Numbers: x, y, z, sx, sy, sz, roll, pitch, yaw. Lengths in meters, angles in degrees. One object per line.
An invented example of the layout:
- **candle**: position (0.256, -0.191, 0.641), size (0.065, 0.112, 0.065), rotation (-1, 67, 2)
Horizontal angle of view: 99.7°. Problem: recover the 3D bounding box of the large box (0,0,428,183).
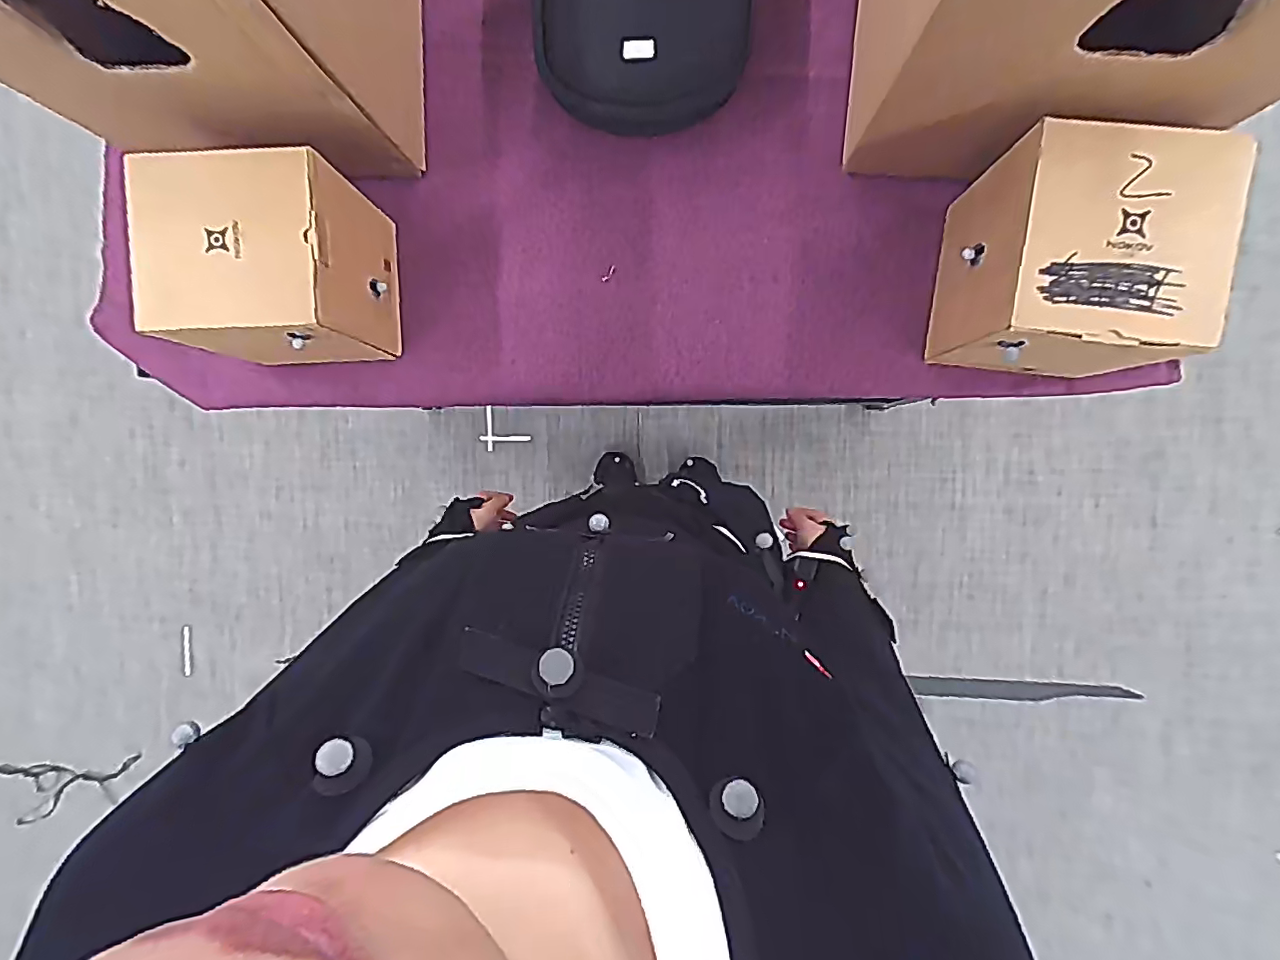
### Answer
- **large box**: position (-0.418, -0.555, 0.505), size (0.320, 0.320, 0.408), rotation (0, 96, 3)
